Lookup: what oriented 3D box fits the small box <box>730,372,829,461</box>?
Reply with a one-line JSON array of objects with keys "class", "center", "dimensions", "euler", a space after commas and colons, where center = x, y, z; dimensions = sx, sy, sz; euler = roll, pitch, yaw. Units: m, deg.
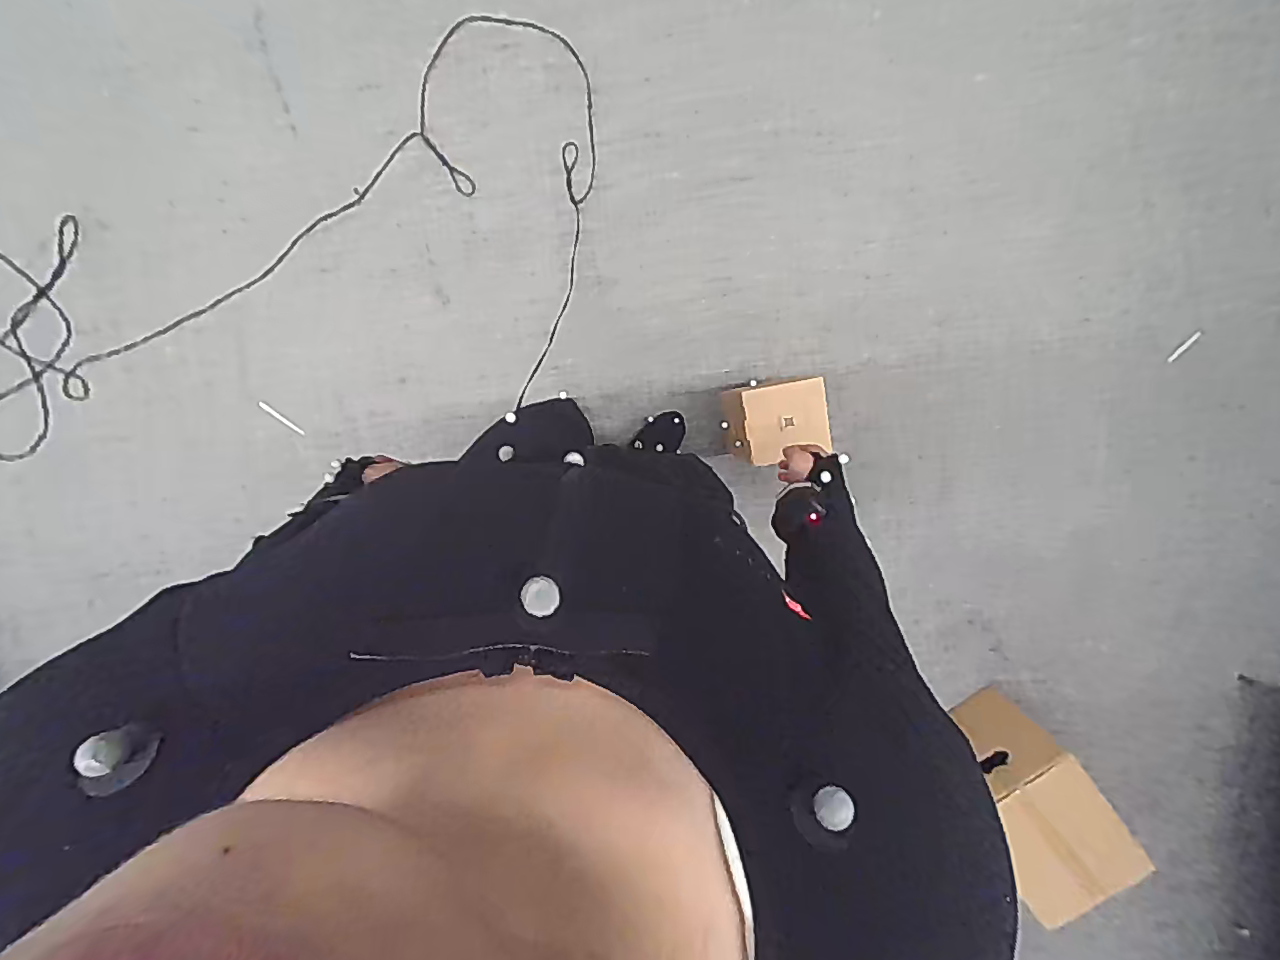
[{"class": "small box", "center": [0.307, -0.148, 1.225], "dimensions": [0.179, 0.176, 0.168], "euler": [-11, 102, 1]}]

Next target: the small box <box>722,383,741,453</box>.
[{"class": "small box", "center": [0.308, -0.169, 1.387], "dimensions": [0.179, 0.176, 0.168], "euler": [-8, 101, 1]}]
